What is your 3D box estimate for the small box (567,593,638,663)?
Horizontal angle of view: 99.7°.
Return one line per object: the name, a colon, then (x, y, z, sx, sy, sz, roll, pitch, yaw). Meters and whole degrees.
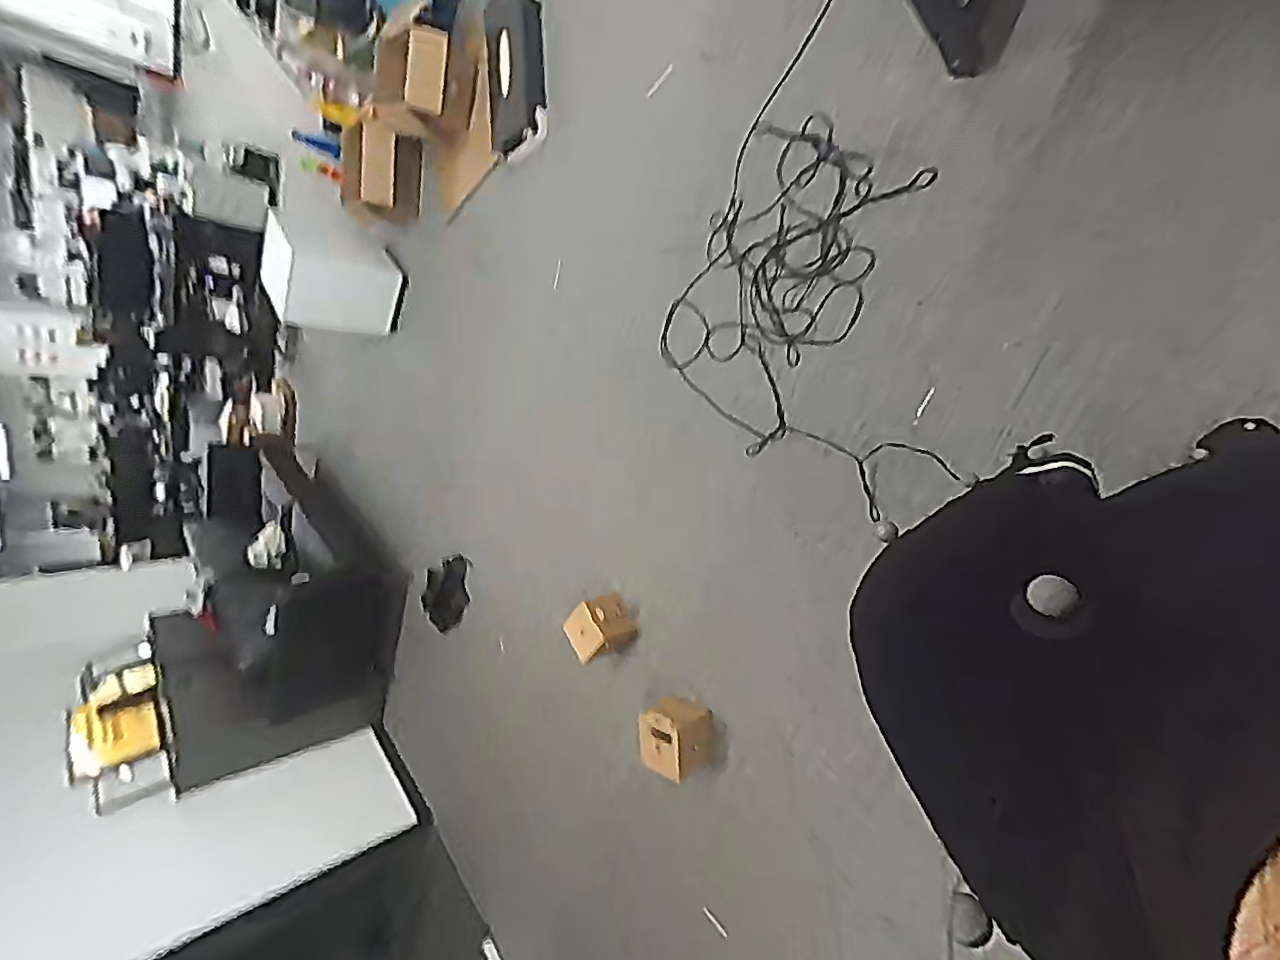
small box: (-0.136, 0.545, 2.004, 0.168, 0.176, 0.179, 54, 126, 28)
